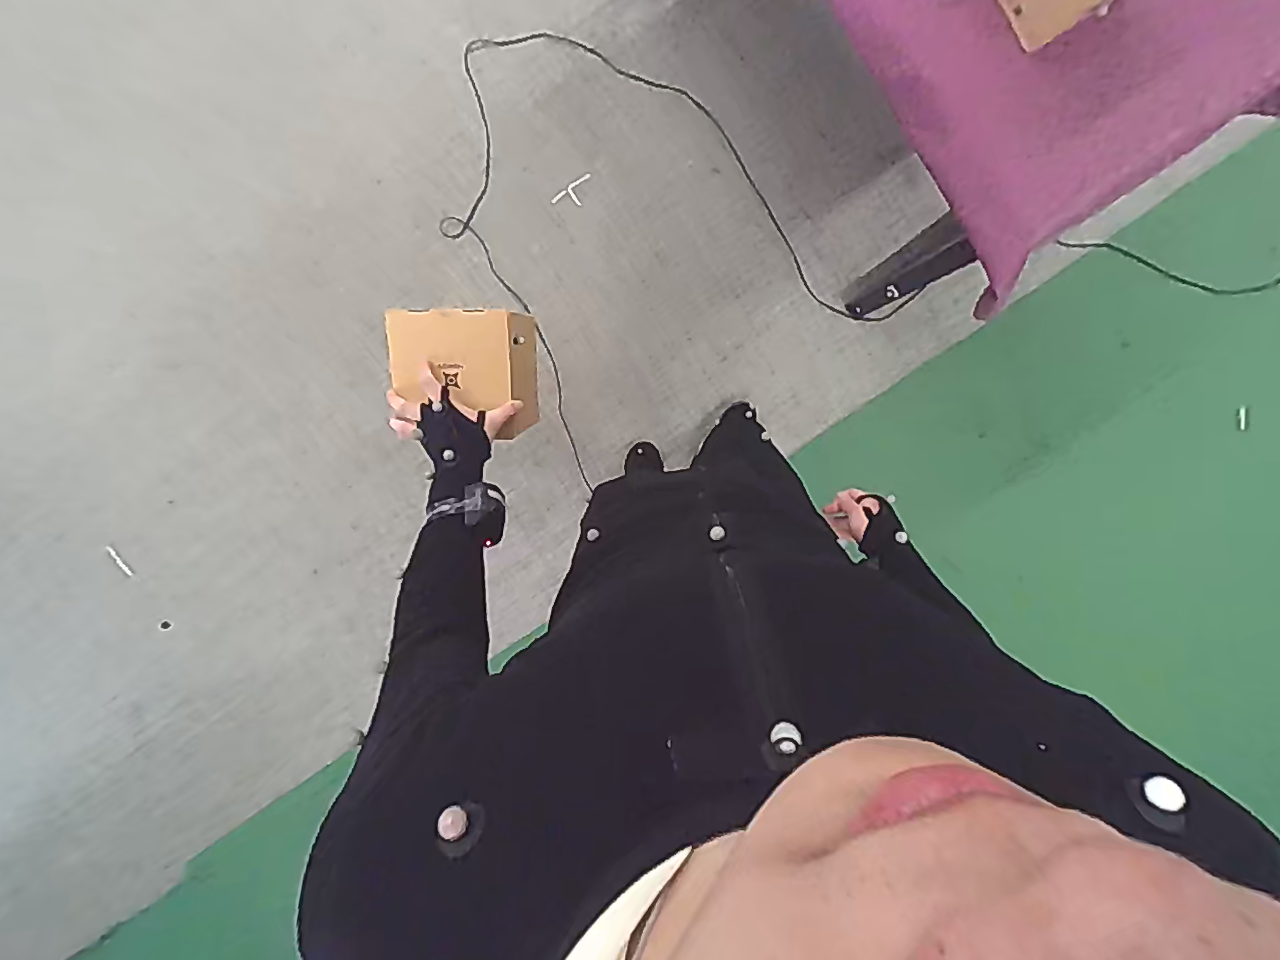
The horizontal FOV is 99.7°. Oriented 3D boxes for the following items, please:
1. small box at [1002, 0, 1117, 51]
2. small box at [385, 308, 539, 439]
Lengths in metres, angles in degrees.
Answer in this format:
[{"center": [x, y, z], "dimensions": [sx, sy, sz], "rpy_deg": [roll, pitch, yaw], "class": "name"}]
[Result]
[{"center": [0.629, -0.755, 0.737], "dimensions": [0.179, 0.176, 0.168], "rpy_deg": [-33, 94, 2], "class": "small box"}, {"center": [-0.251, -0.160, 0.805], "dimensions": [0.168, 0.176, 0.179], "rpy_deg": [0, 103, 3], "class": "small box"}]
